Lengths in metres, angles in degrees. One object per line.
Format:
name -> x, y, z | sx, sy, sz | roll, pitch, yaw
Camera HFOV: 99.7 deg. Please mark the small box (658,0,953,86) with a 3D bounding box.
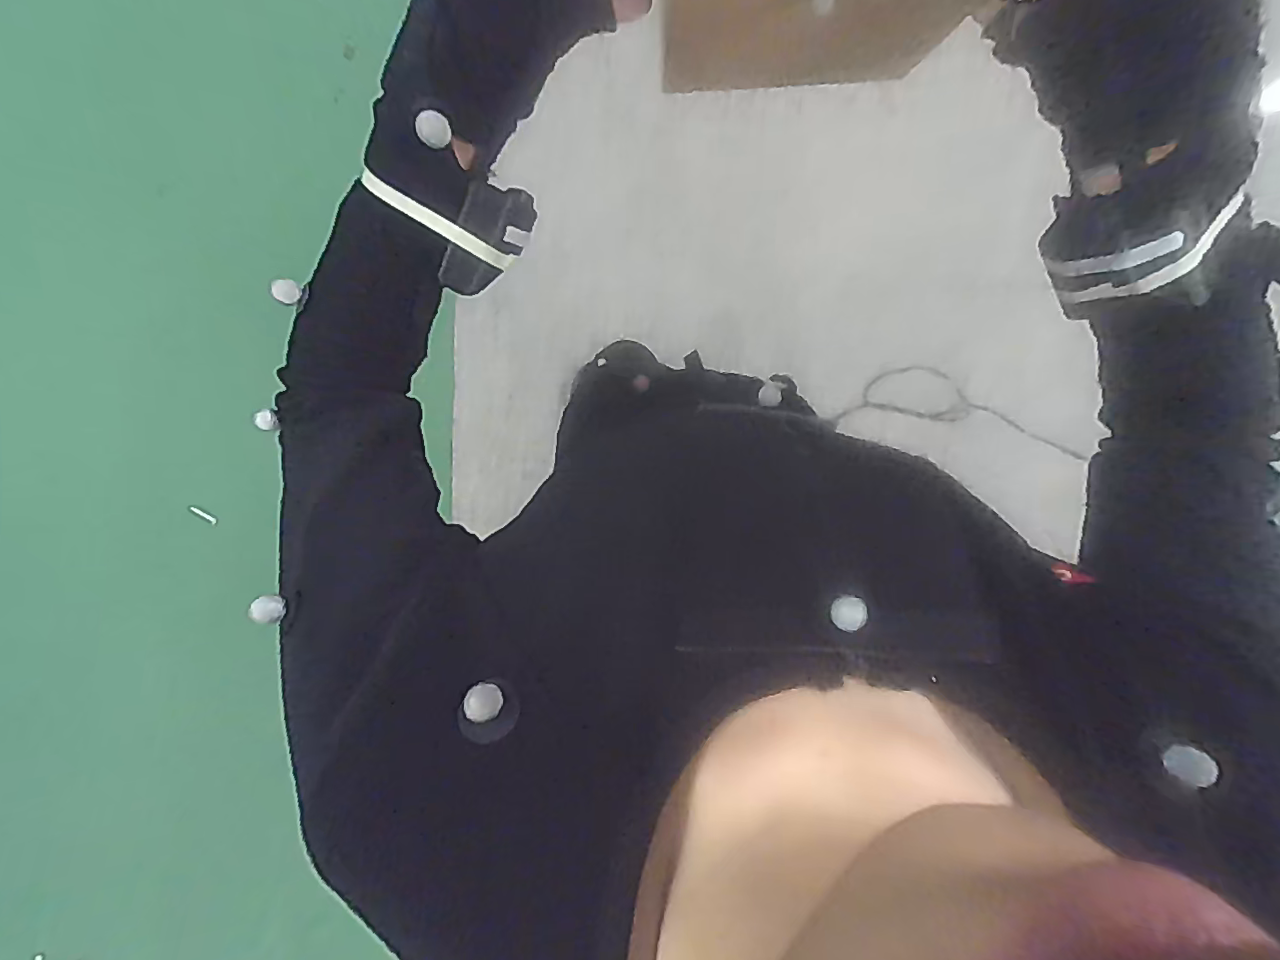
small box -> 0.098, -0.345, 0.297 | 0.179, 0.176, 0.168 | -3, 105, 0
